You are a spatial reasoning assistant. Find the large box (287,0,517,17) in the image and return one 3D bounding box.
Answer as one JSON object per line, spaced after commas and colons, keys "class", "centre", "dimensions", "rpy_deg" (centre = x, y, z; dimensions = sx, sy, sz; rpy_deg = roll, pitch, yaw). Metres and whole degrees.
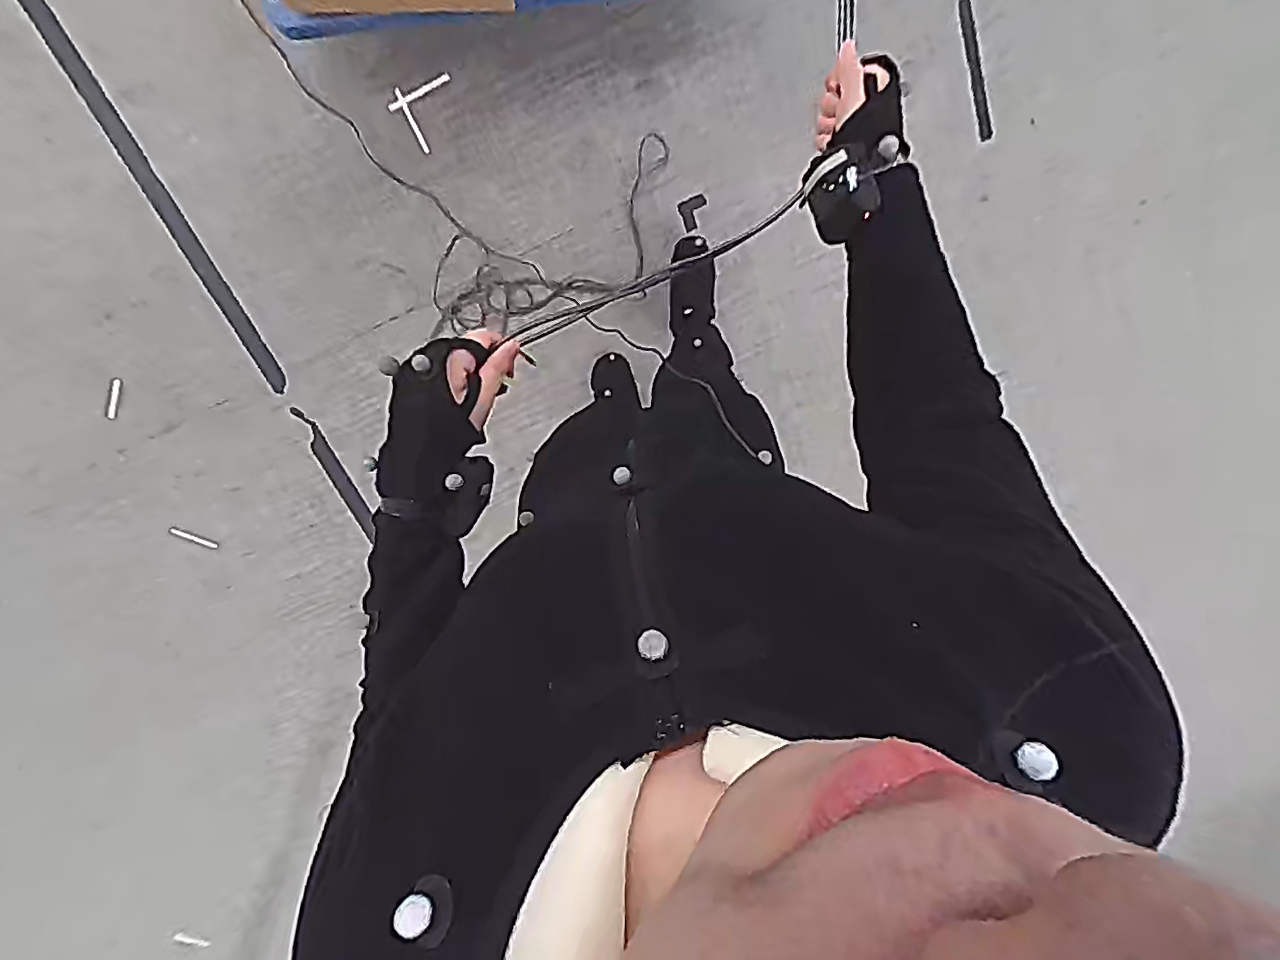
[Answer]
{"class": "large box", "centre": [-0.427, -0.969, 0.821], "dimensions": [0.408, 0.320, 0.320], "rpy_deg": [-4, 106, -2]}
